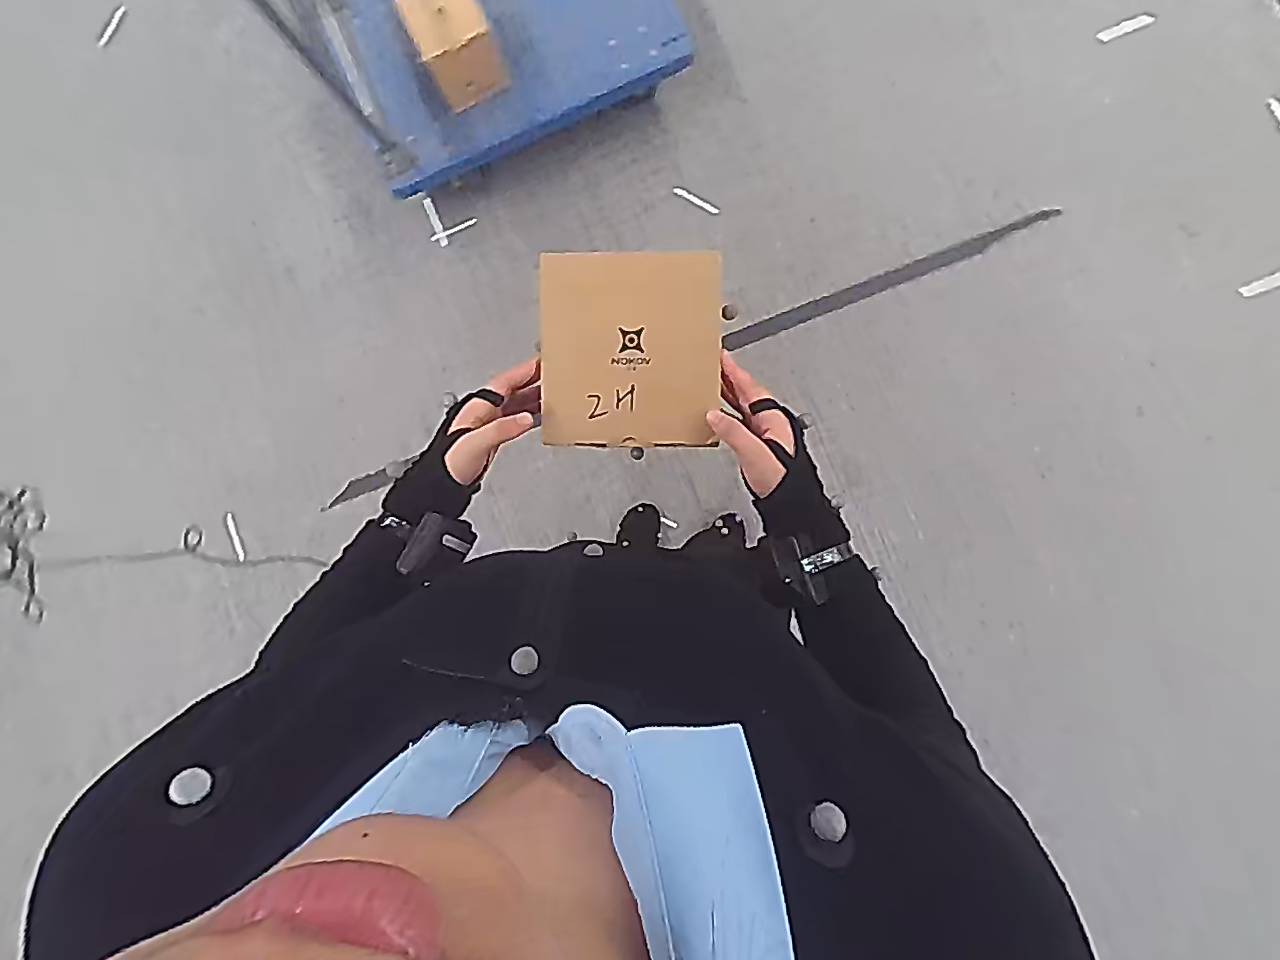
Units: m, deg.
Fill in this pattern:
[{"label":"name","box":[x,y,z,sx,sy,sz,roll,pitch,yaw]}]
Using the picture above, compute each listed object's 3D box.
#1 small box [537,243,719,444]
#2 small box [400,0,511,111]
[{"label":"small box","box":[-0.008,-0.127,0.563,0.168,0.176,0.179,0,94,4]},{"label":"small box","box":[-0.438,-1.056,1.309,0.168,0.176,0.179,-27,87,1]}]
